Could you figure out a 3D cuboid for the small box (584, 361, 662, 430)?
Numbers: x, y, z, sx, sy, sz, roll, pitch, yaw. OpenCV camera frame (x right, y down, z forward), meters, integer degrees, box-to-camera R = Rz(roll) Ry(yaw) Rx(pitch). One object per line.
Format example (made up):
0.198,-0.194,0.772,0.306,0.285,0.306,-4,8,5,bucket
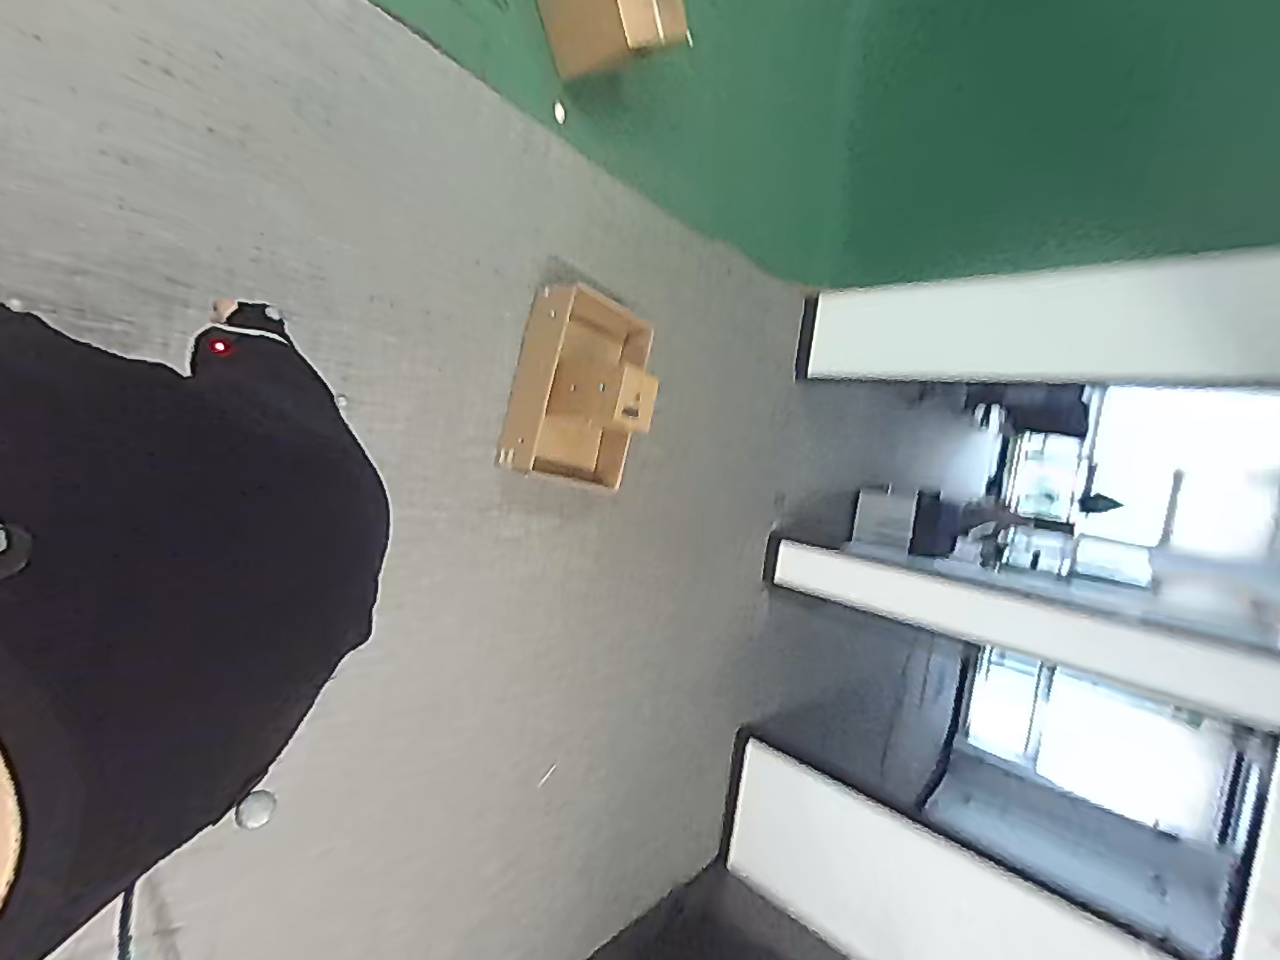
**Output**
-0.058,-0.265,1.716,0.168,0.176,0.179,15,86,-48,small box

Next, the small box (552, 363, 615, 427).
-0.176,-0.285,1.828,0.168,0.176,0.179,13,88,-47,small box
